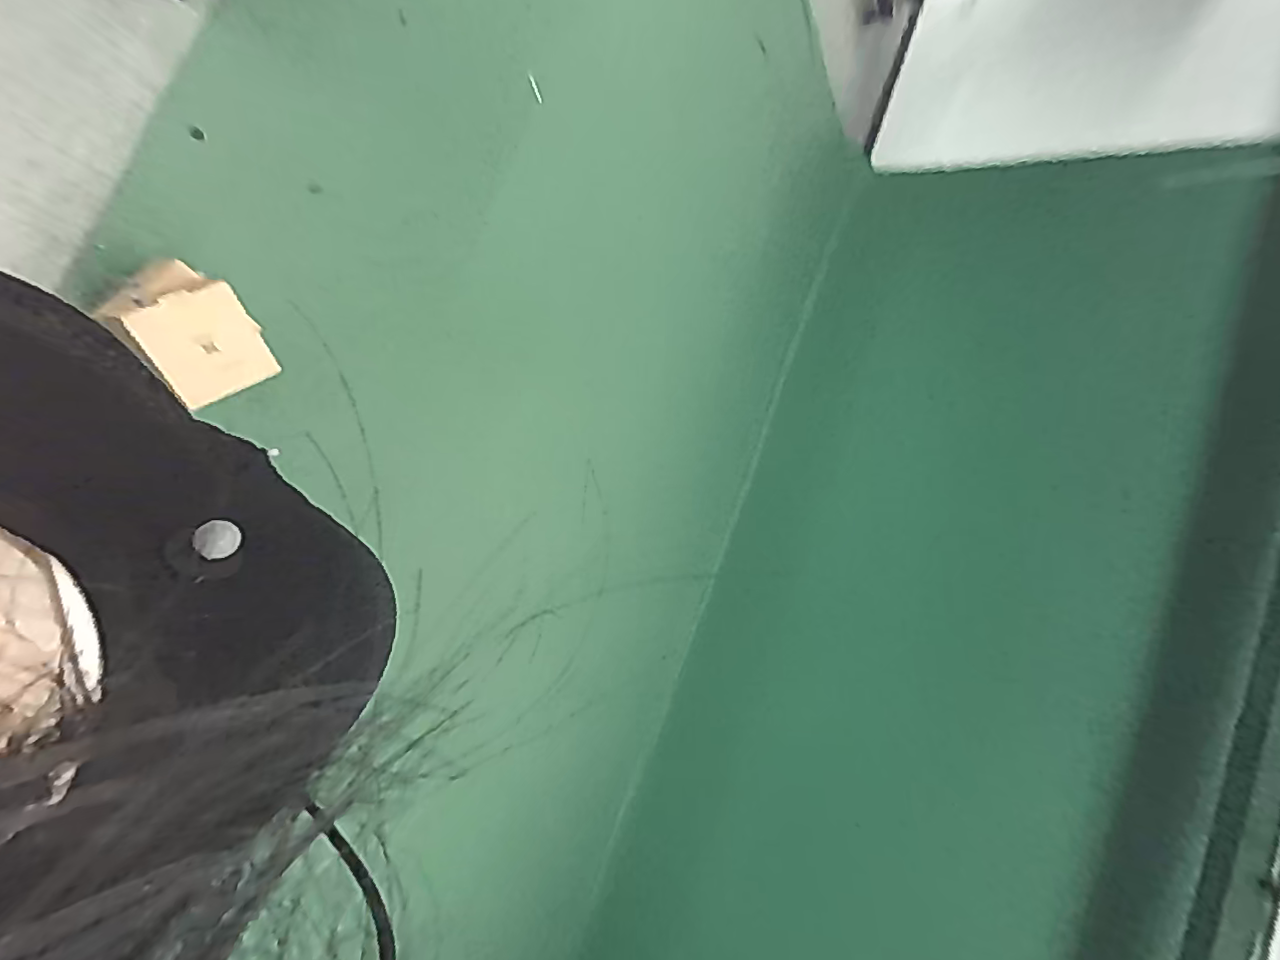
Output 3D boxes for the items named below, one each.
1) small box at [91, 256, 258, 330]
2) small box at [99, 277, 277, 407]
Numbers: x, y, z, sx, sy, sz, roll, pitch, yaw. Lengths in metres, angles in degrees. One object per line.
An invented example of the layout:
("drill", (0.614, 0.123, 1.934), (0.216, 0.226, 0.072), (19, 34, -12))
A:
("small box", (-0.932, -0.323, 1.083), (0.168, 0.176, 0.179), (-58, 143, -19))
("small box", (-0.818, -0.256, 0.981), (0.168, 0.176, 0.179), (-43, 136, -34))
